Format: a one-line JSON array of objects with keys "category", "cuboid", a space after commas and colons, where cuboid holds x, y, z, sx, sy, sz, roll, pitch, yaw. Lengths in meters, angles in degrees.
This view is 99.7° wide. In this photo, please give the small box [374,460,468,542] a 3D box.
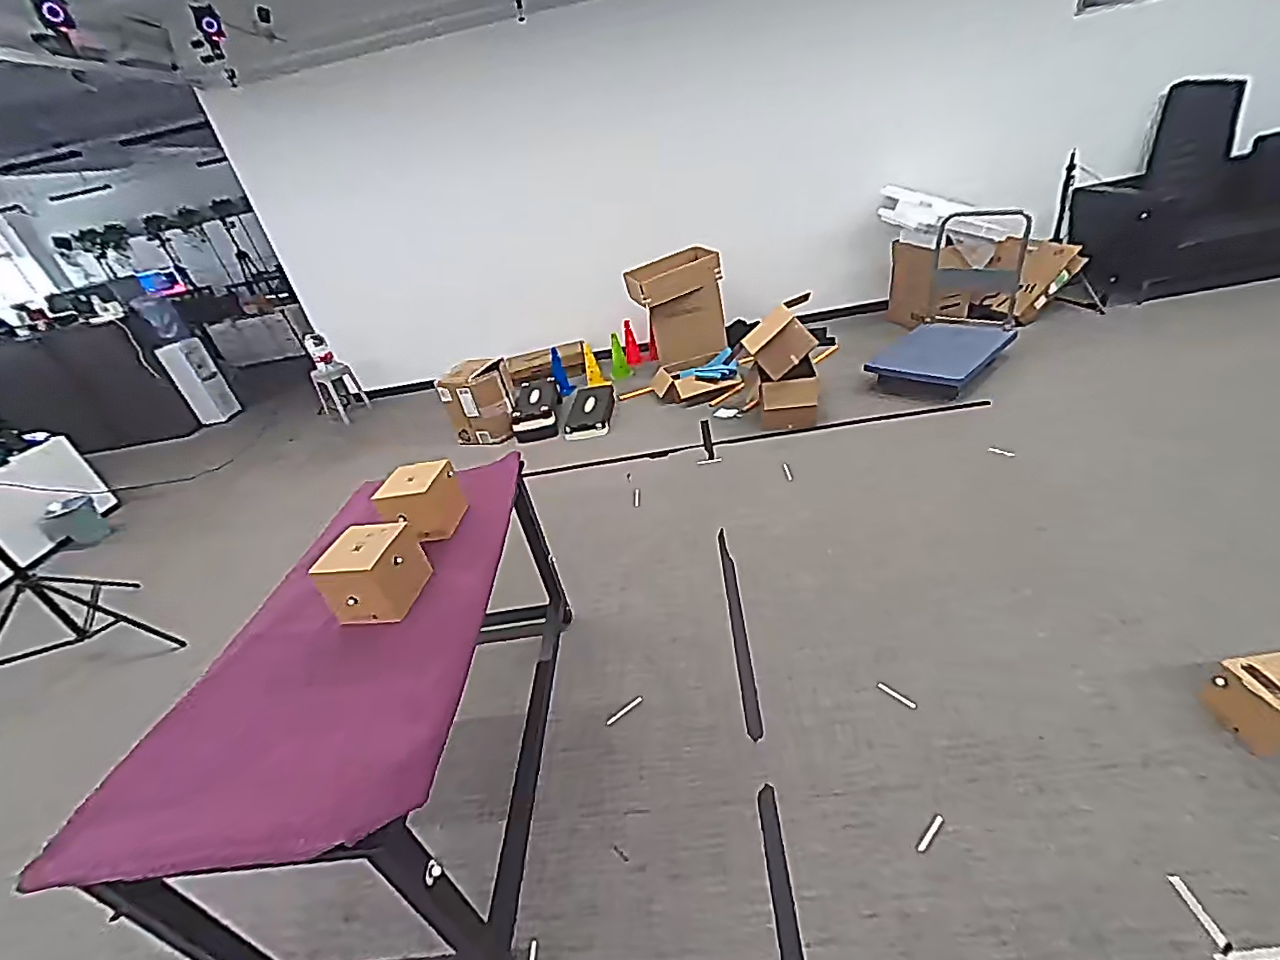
[{"category": "small box", "cuboid": [-0.622, 0.066, 1.563, 0.168, 0.176, 0.179, -8, 31, 9]}]

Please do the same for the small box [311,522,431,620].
[{"category": "small box", "cuboid": [-0.637, 0.224, 1.309, 0.168, 0.176, 0.179, -4, 31, 12]}]
